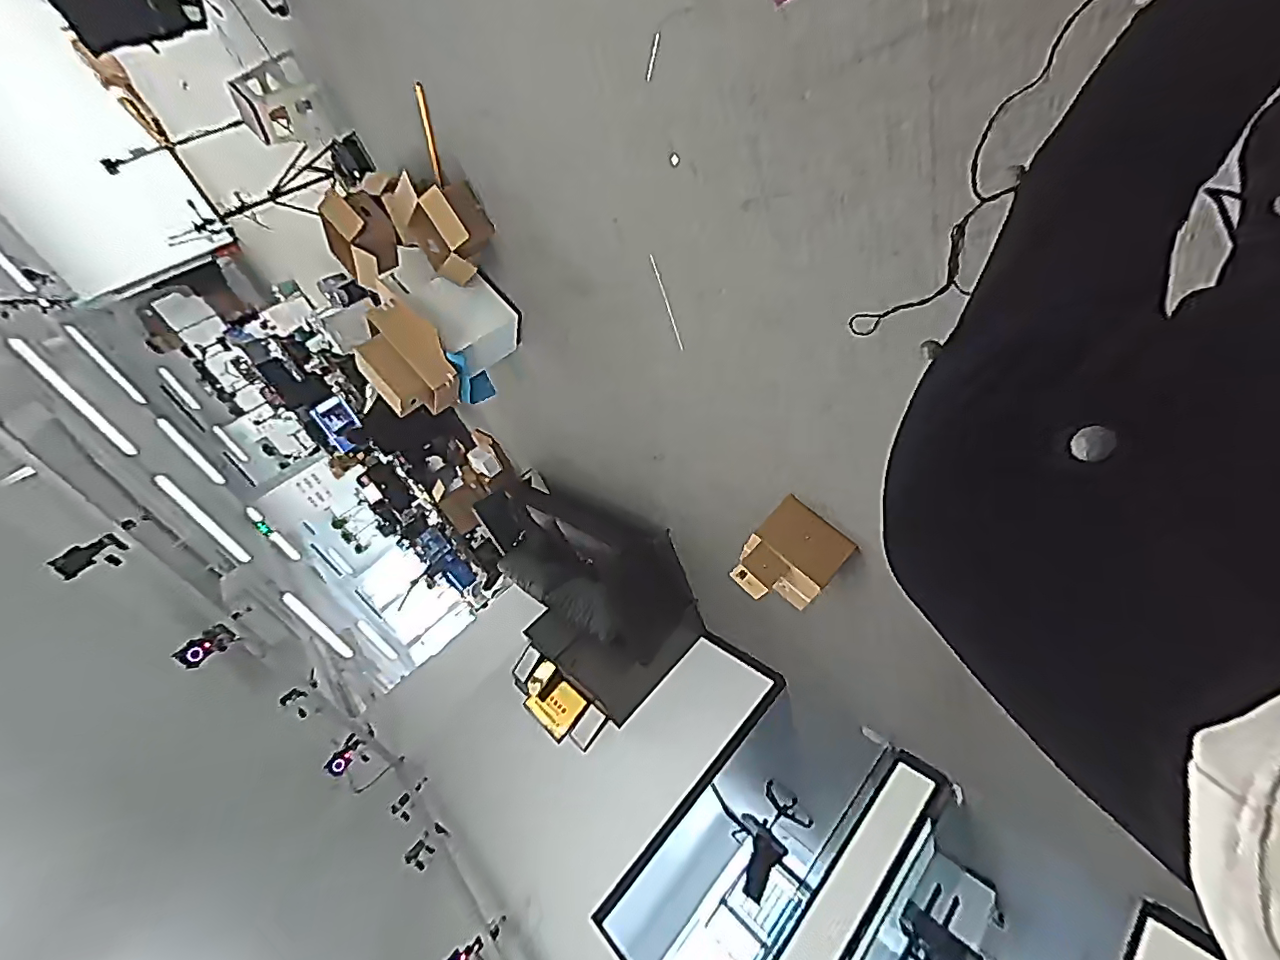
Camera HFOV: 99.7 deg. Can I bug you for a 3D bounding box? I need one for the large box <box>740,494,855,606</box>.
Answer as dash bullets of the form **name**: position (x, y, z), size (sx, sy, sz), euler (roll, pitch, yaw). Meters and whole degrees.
- **large box**: position (0.774, 0.345, 2.691), size (0.408, 0.320, 0.320), euler (39, 155, 18)
